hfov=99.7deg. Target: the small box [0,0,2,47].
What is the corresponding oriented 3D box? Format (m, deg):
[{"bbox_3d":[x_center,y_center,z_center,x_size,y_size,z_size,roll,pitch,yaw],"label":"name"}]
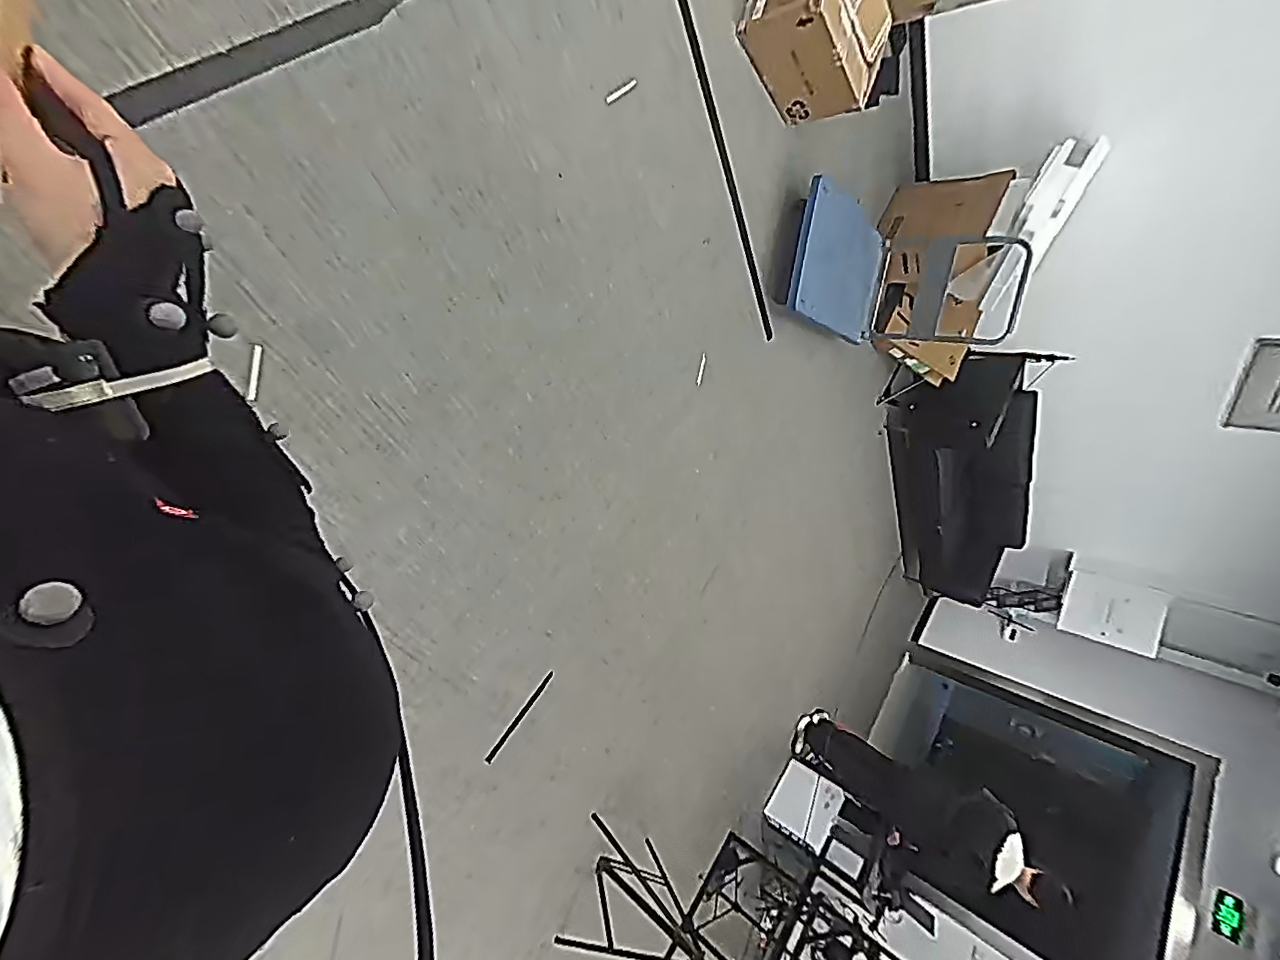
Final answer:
[{"bbox_3d":[-0.430,-0.256,0.249,0.179,0.176,0.168,1,103,-48],"label":"small box"}]
